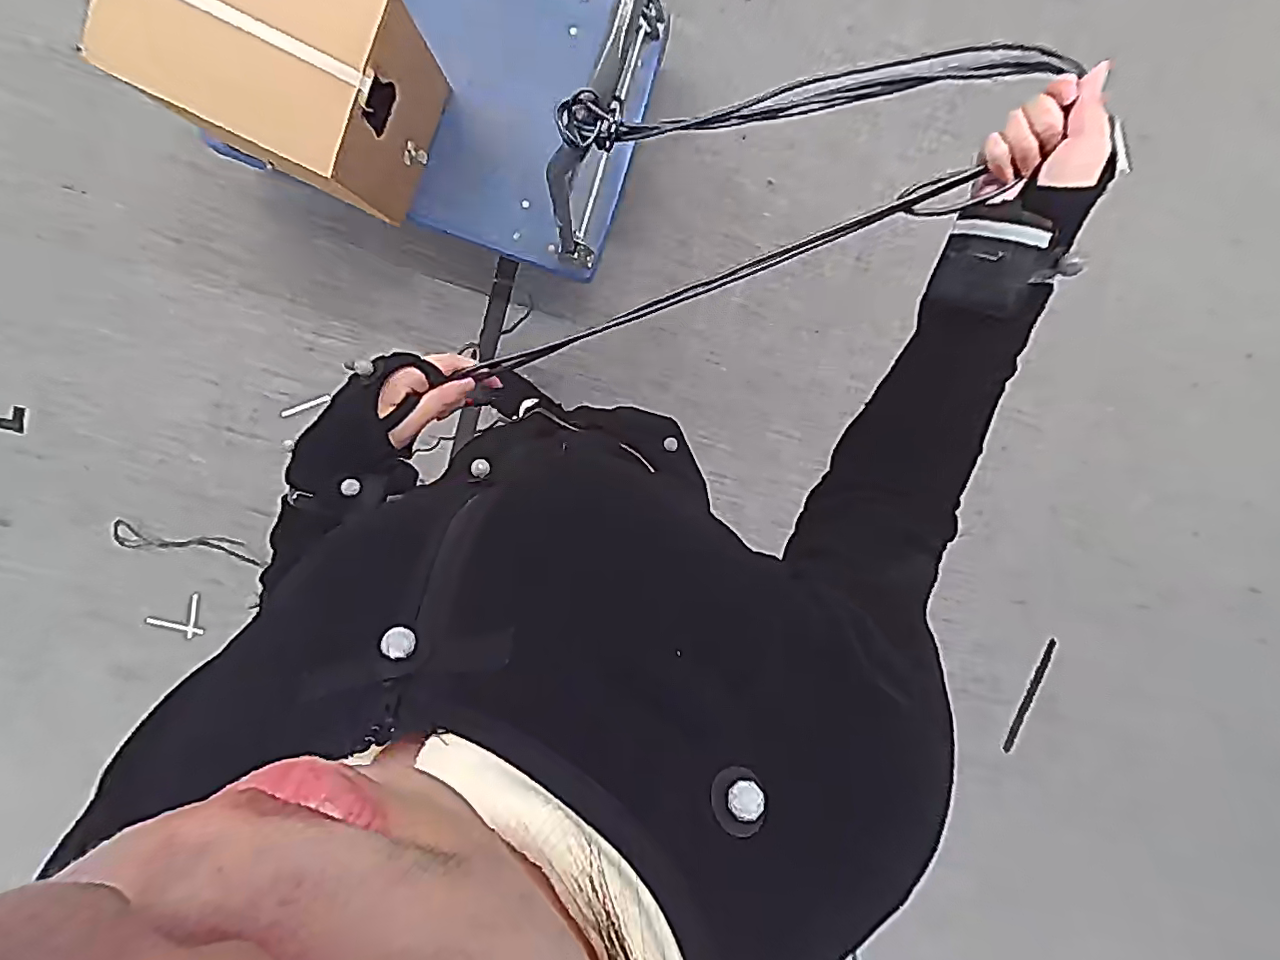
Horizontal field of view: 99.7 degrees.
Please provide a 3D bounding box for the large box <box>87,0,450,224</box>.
[{"bbox_3d":[-0.624,-0.730,0.982,0.408,0.320,0.320,24,99,-6],"label":"large box"}]
